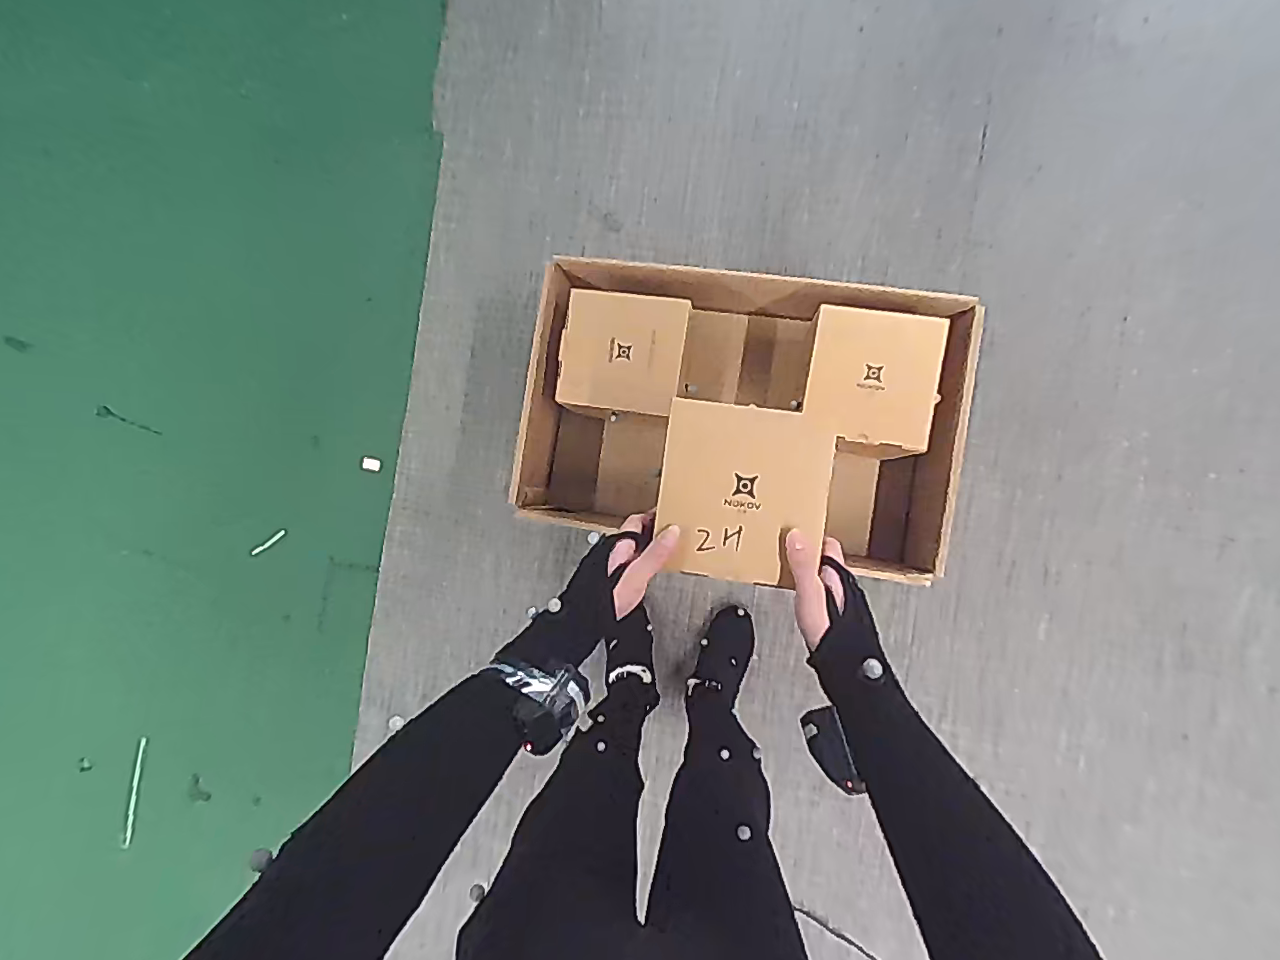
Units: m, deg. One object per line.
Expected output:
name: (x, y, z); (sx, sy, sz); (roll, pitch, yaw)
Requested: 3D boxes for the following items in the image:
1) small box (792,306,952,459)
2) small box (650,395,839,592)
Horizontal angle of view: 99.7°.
small box: (0.319, -0.132, 0.786); (0.168, 0.176, 0.179); (10, 91, 8)
small box: (0.109, 0.013, 0.613); (0.168, 0.176, 0.179); (8, 90, 6)
